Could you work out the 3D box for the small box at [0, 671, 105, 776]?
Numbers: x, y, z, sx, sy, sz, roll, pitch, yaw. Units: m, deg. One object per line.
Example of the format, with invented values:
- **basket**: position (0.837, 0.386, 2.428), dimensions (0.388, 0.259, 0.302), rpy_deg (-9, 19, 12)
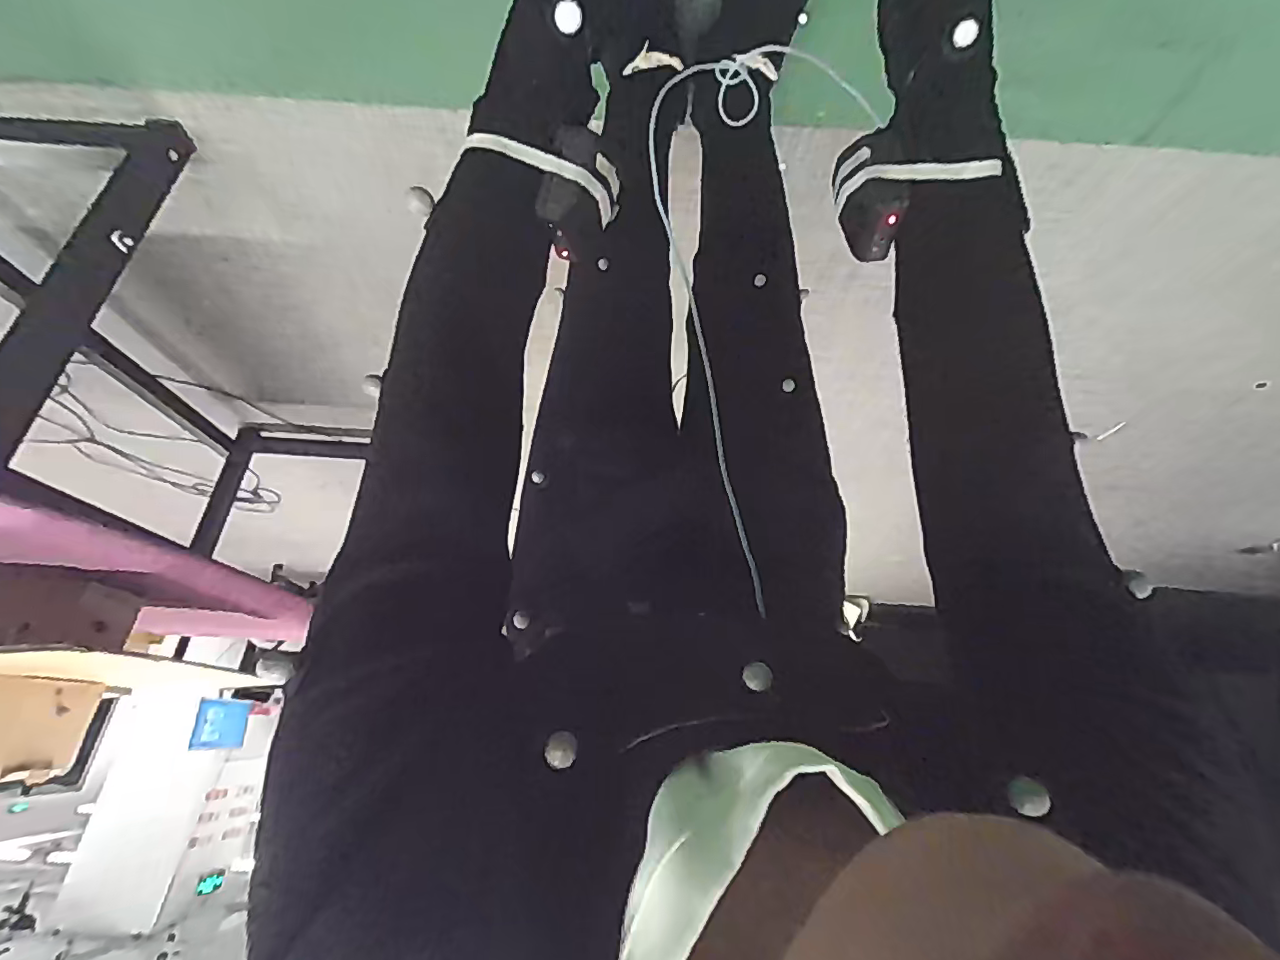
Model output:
- **small box**: position (-1.191, 0.455, 1.019), dimensions (0.179, 0.176, 0.168), rpy_deg (6, 155, -3)
